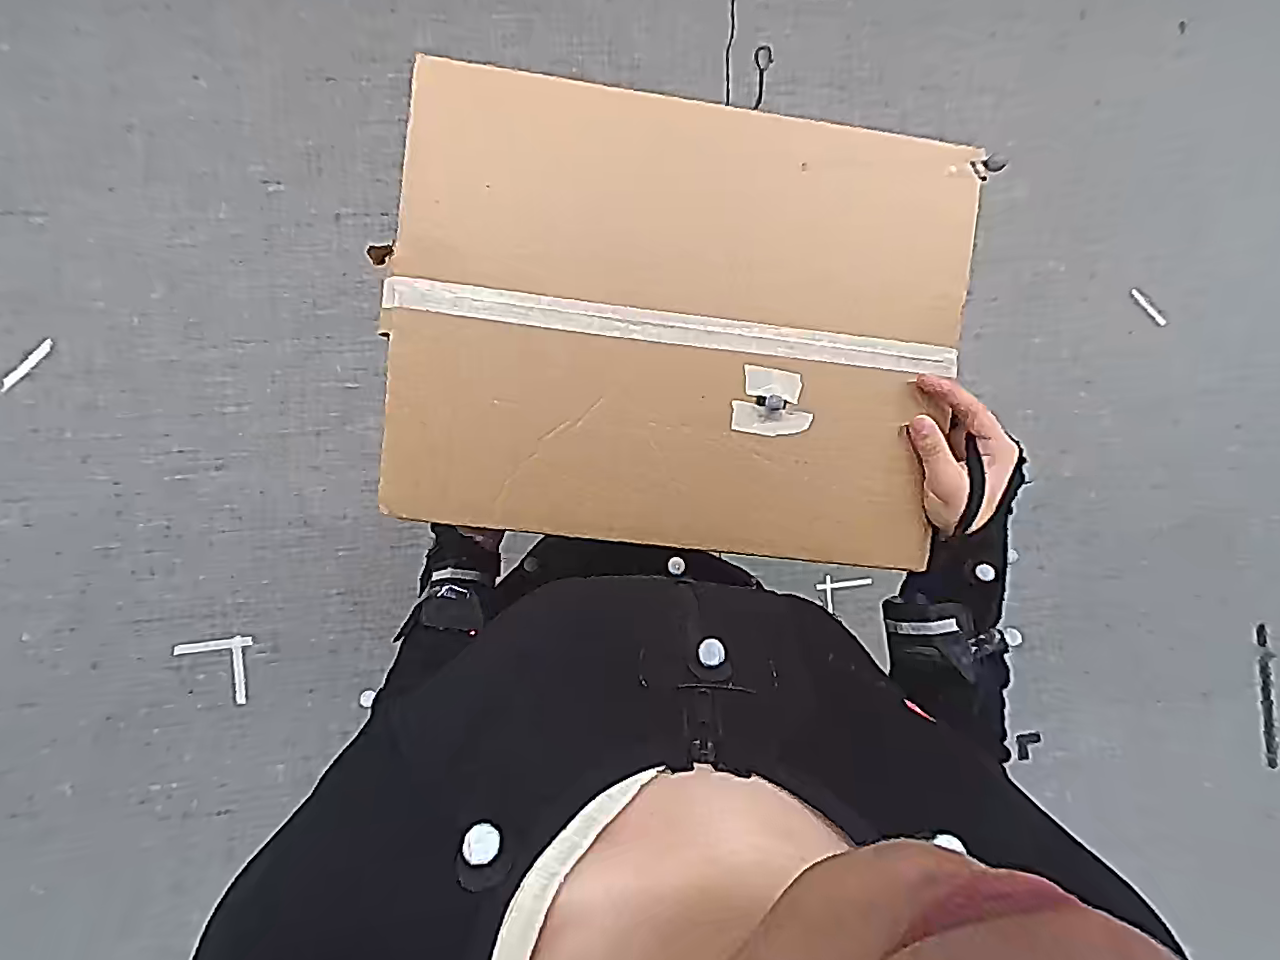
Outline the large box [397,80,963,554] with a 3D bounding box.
[{"bbox_3d":[0.020,-0.117,0.543,0.408,0.320,0.320,5,94,-5],"label":"large box"}]
